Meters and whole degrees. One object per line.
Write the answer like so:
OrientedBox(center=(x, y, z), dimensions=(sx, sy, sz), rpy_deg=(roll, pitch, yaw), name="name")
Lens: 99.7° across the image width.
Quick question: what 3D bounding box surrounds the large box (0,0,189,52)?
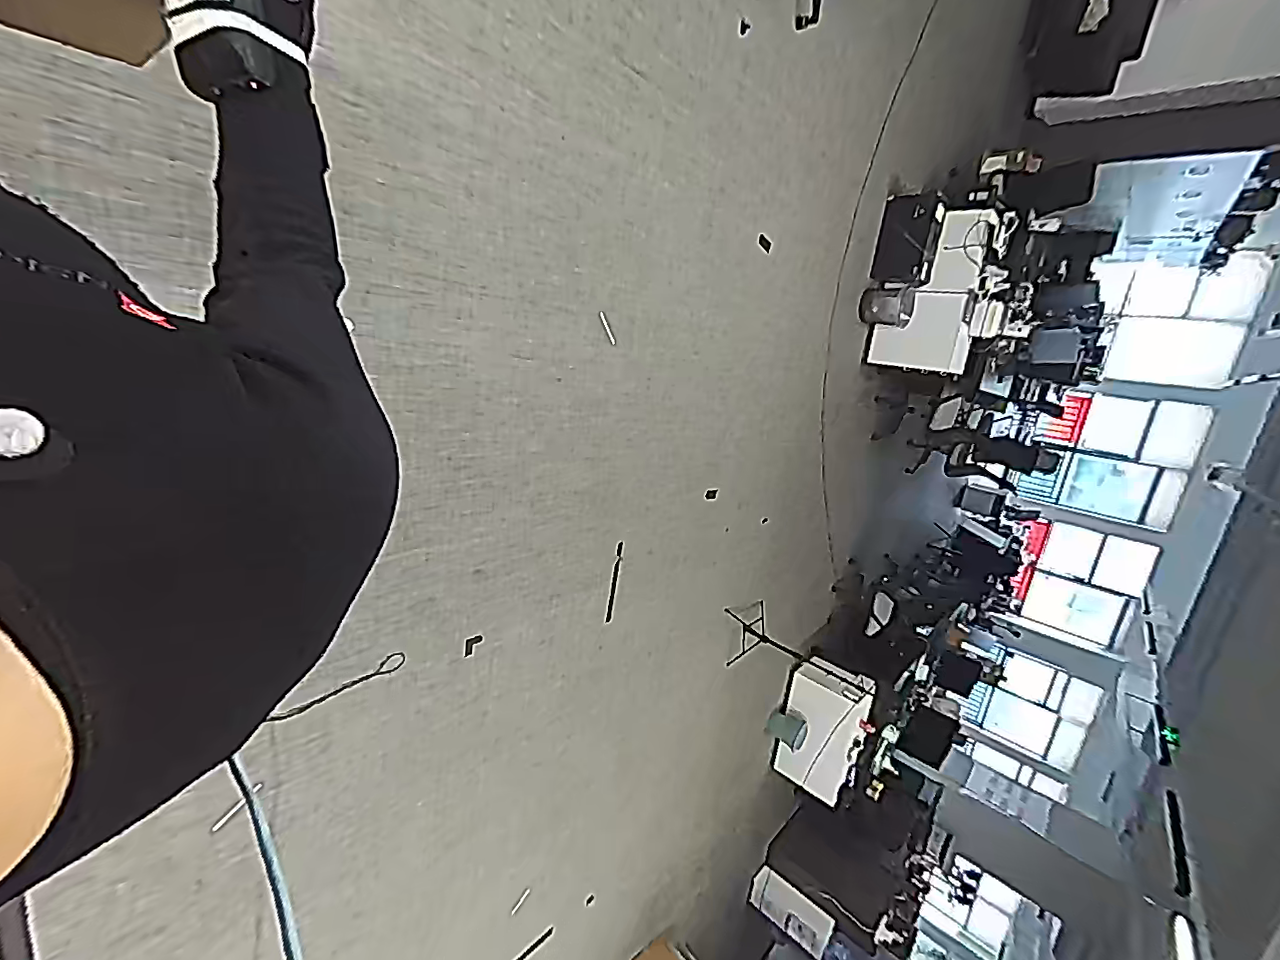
OrientedBox(center=(-0.528, -0.504, 0.281), dimensions=(0.408, 0.320, 0.320), rpy_deg=(-14, 119, -48), name="large box")
